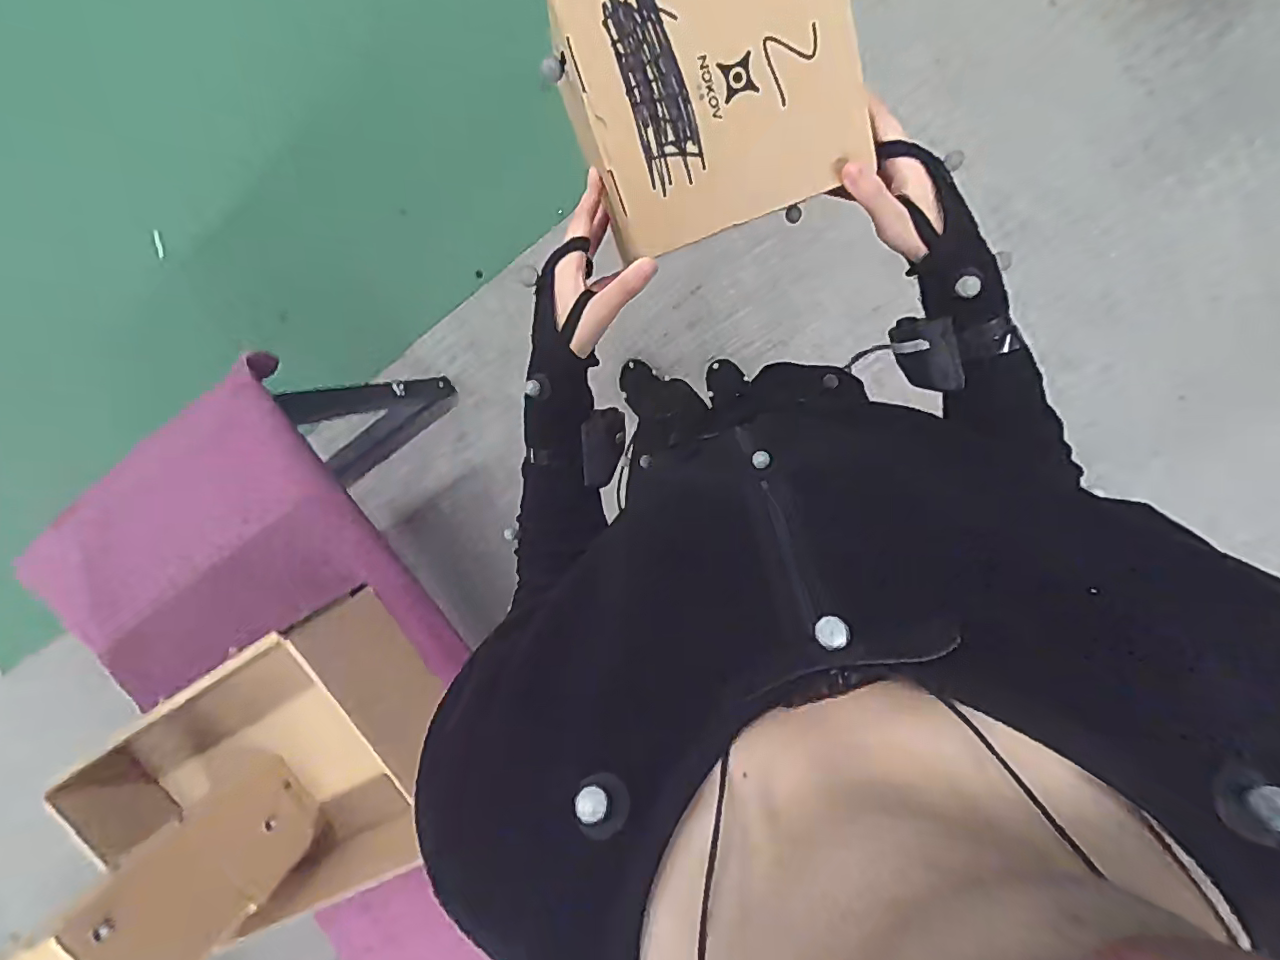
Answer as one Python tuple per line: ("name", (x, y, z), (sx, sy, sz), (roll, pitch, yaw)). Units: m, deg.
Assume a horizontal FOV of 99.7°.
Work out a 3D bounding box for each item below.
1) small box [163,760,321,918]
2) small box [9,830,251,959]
("small box", (-0.680, 0.615, 0.911), (0.179, 0.176, 0.168), (-31, 96, 13))
("small box", (-0.704, 0.643, 0.754), (0.168, 0.176, 0.179), (-34, 95, 14))
